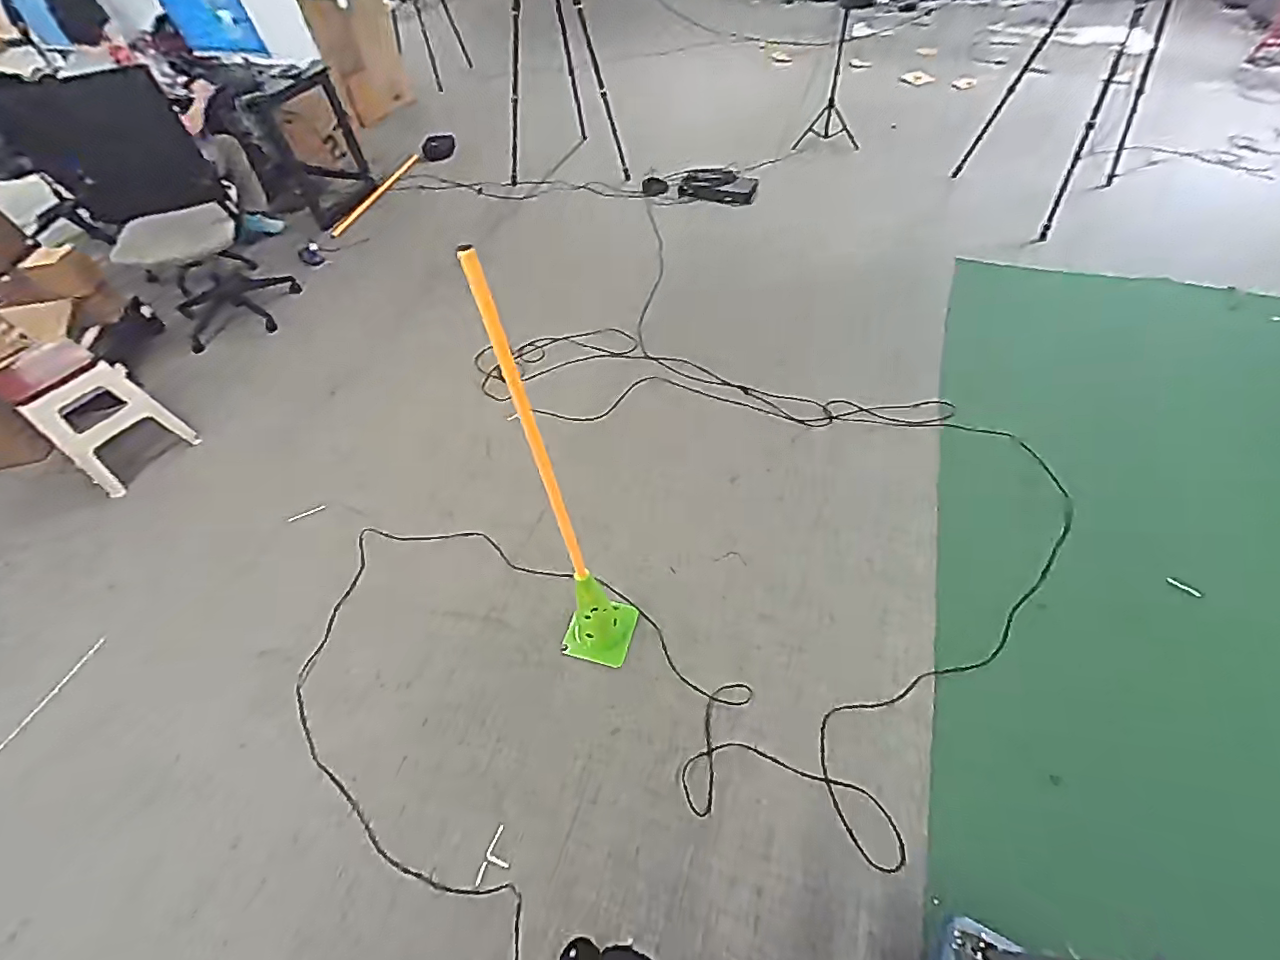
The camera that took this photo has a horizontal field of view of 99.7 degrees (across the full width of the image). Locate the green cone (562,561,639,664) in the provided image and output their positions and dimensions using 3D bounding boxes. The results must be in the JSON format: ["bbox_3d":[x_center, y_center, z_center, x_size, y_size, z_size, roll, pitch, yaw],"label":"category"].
[{"bbox_3d":[-0.132,0.346,1.534,0.200,0.368,0.202,10,52,13],"label":"green cone"}]
